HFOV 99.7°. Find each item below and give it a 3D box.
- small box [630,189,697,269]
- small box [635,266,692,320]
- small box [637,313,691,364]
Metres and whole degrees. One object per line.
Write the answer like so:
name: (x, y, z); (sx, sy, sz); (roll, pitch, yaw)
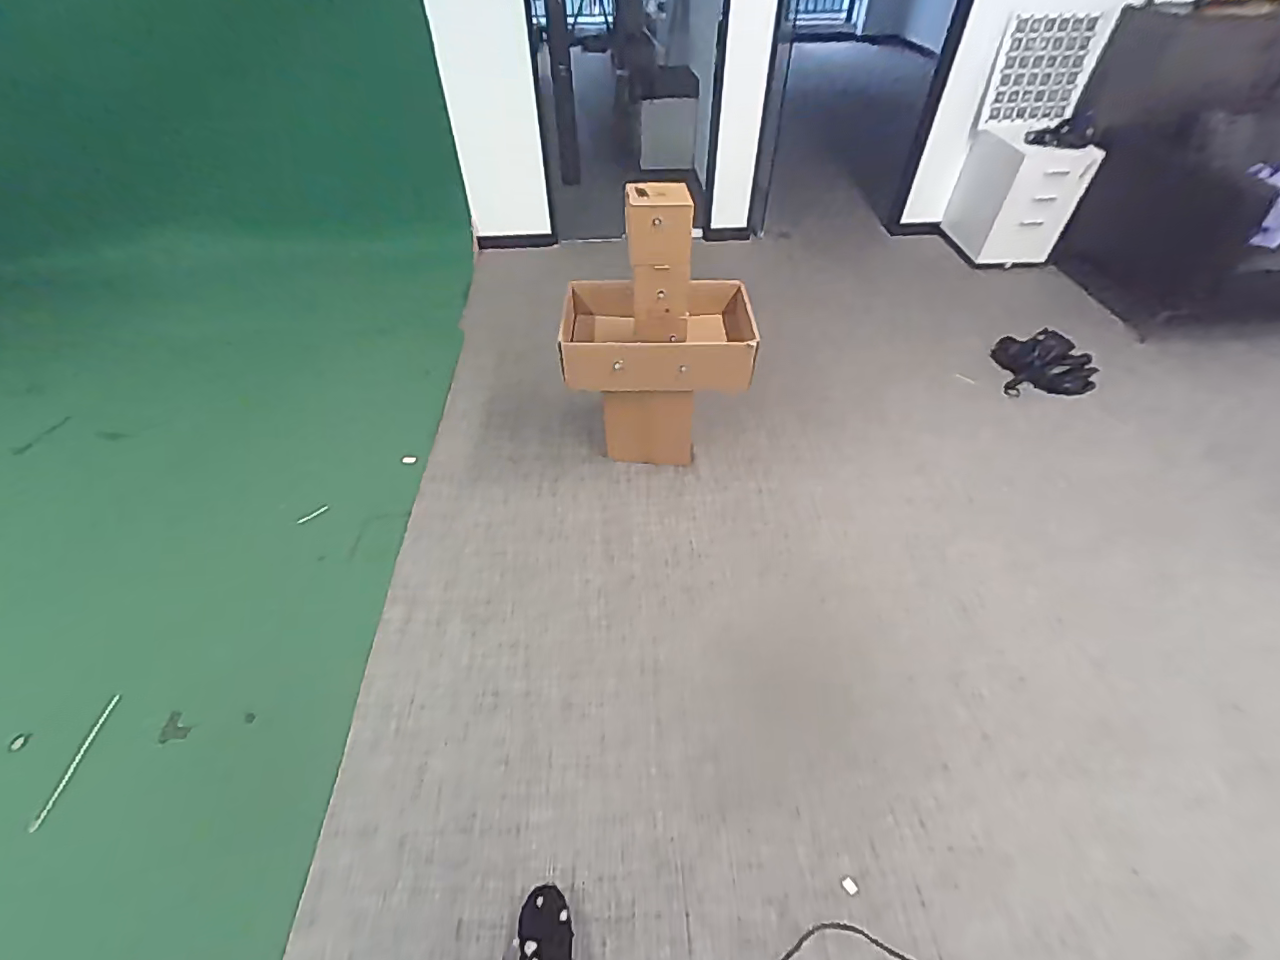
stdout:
small box: (0.064, -0.726, 1.569); (0.179, 0.176, 0.168); (-2, 47, -4)
small box: (0.070, -0.615, 1.691); (0.168, 0.176, 0.179); (-2, 47, -3)
small box: (0.076, -0.500, 1.808); (0.168, 0.176, 0.179); (-2, 45, -3)
